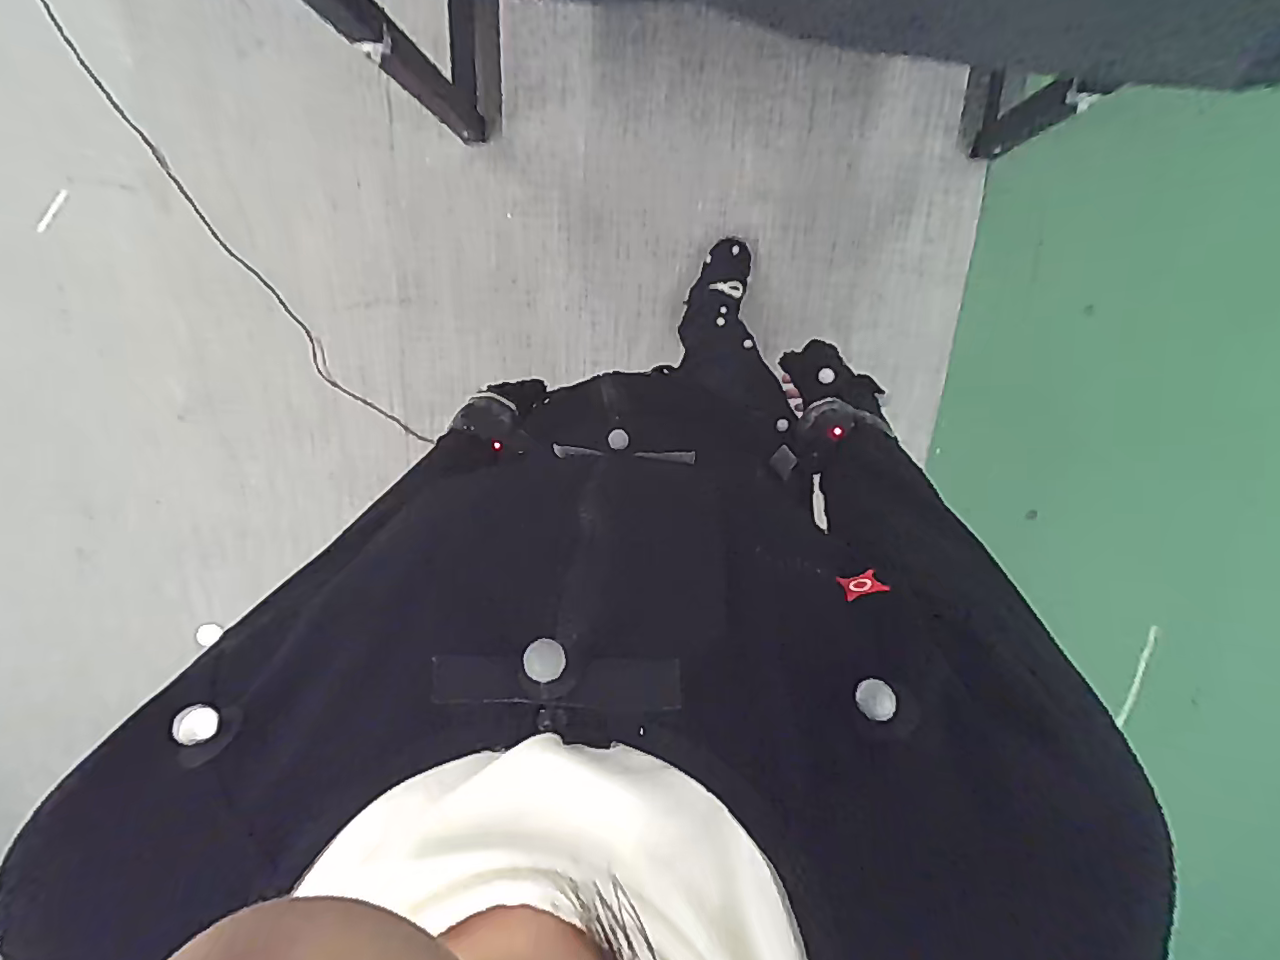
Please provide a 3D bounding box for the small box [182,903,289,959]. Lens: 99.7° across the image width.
[{"bbox_3d":[-0.946,1.117,1.219,0.179,0.176,0.168,39,105,-4],"label":"small box"}]
